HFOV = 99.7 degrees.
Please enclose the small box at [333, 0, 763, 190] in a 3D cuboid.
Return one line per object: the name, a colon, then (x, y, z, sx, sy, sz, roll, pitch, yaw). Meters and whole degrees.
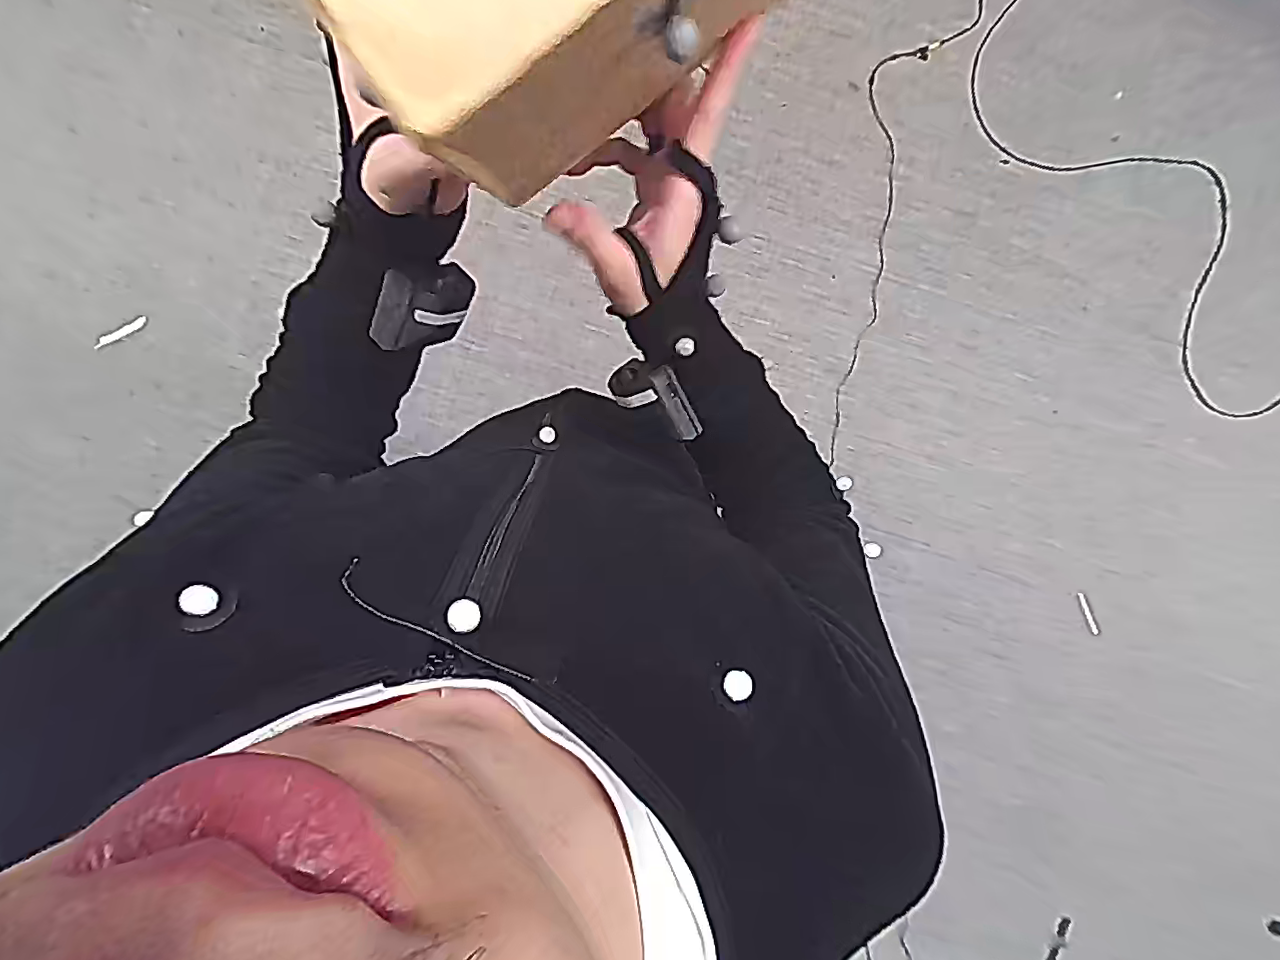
small box: (-0.036, -0.231, 0.189, 0.179, 0.176, 0.168, -35, 112, 9)
